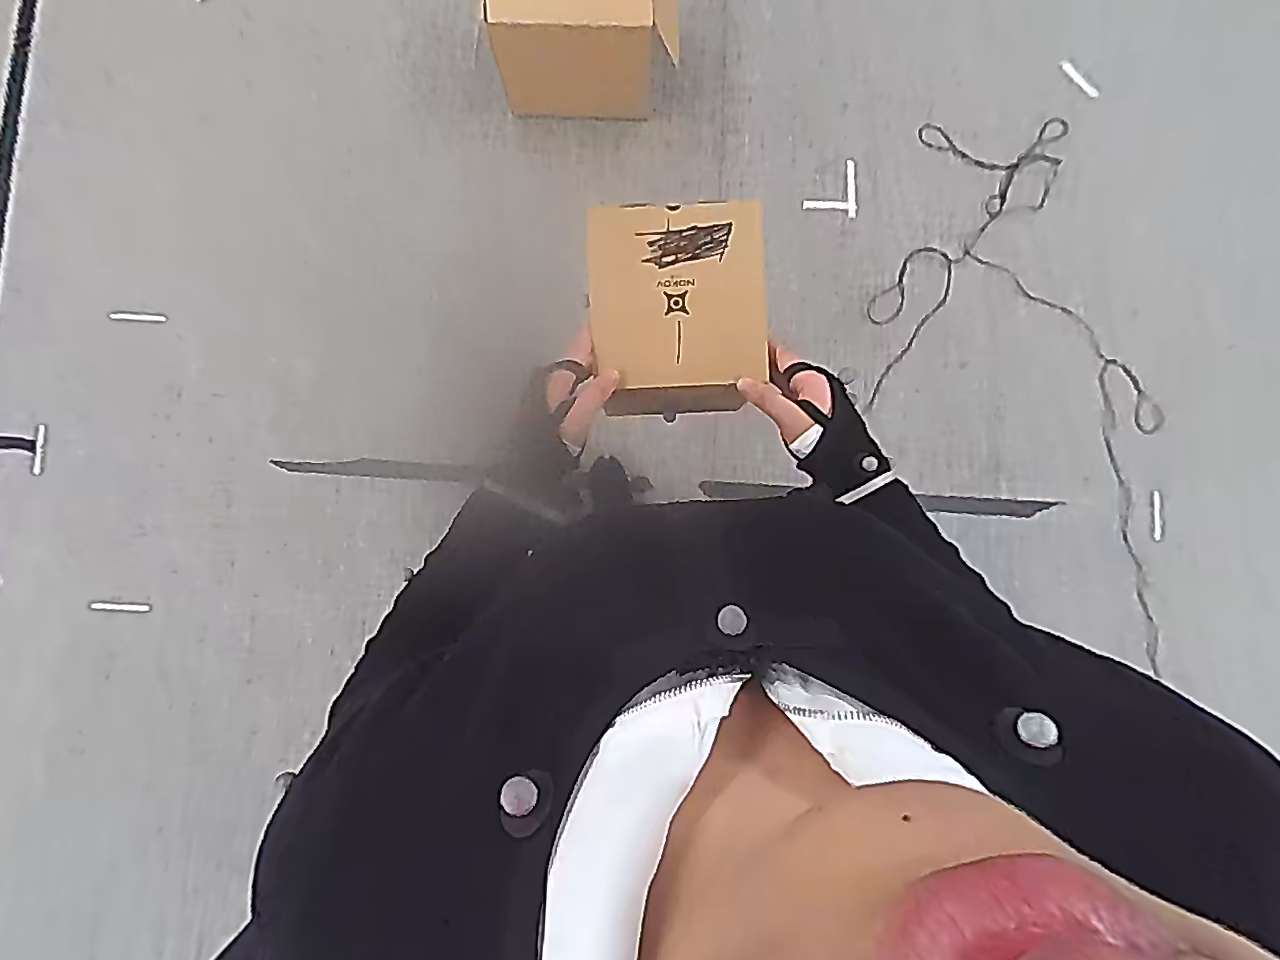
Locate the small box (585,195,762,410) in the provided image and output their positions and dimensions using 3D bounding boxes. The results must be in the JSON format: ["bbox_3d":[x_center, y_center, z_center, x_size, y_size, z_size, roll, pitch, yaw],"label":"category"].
[{"bbox_3d":[0.030,-0.178,0.587,0.168,0.176,0.179,-3,88,0],"label":"small box"}]
